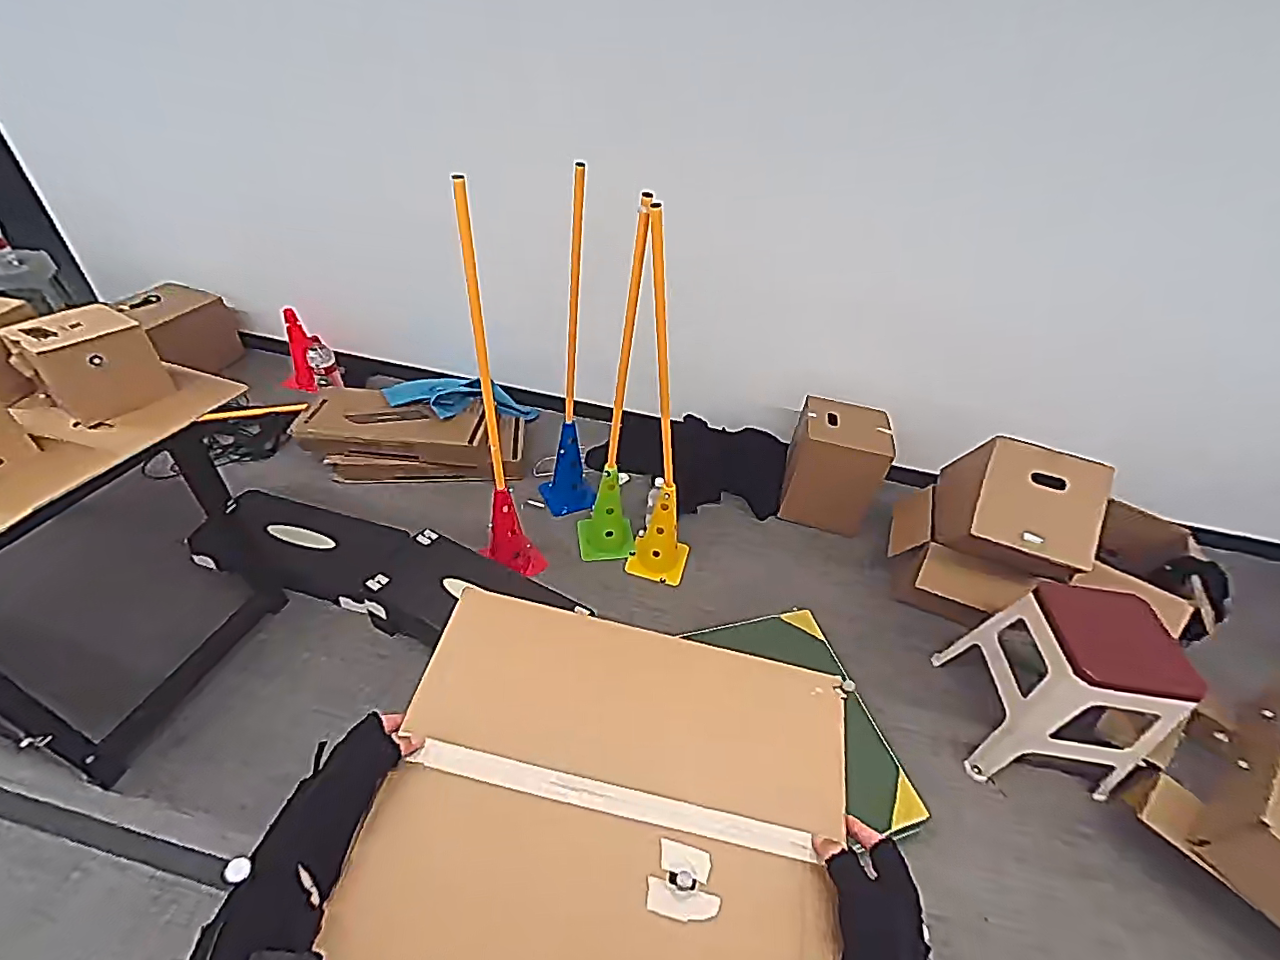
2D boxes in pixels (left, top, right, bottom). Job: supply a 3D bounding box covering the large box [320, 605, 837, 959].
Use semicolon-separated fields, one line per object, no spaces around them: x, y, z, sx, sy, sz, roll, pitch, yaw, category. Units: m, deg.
-0.039;0.379;0.600;0.408;0.320;0.320;13;53;2;large box
